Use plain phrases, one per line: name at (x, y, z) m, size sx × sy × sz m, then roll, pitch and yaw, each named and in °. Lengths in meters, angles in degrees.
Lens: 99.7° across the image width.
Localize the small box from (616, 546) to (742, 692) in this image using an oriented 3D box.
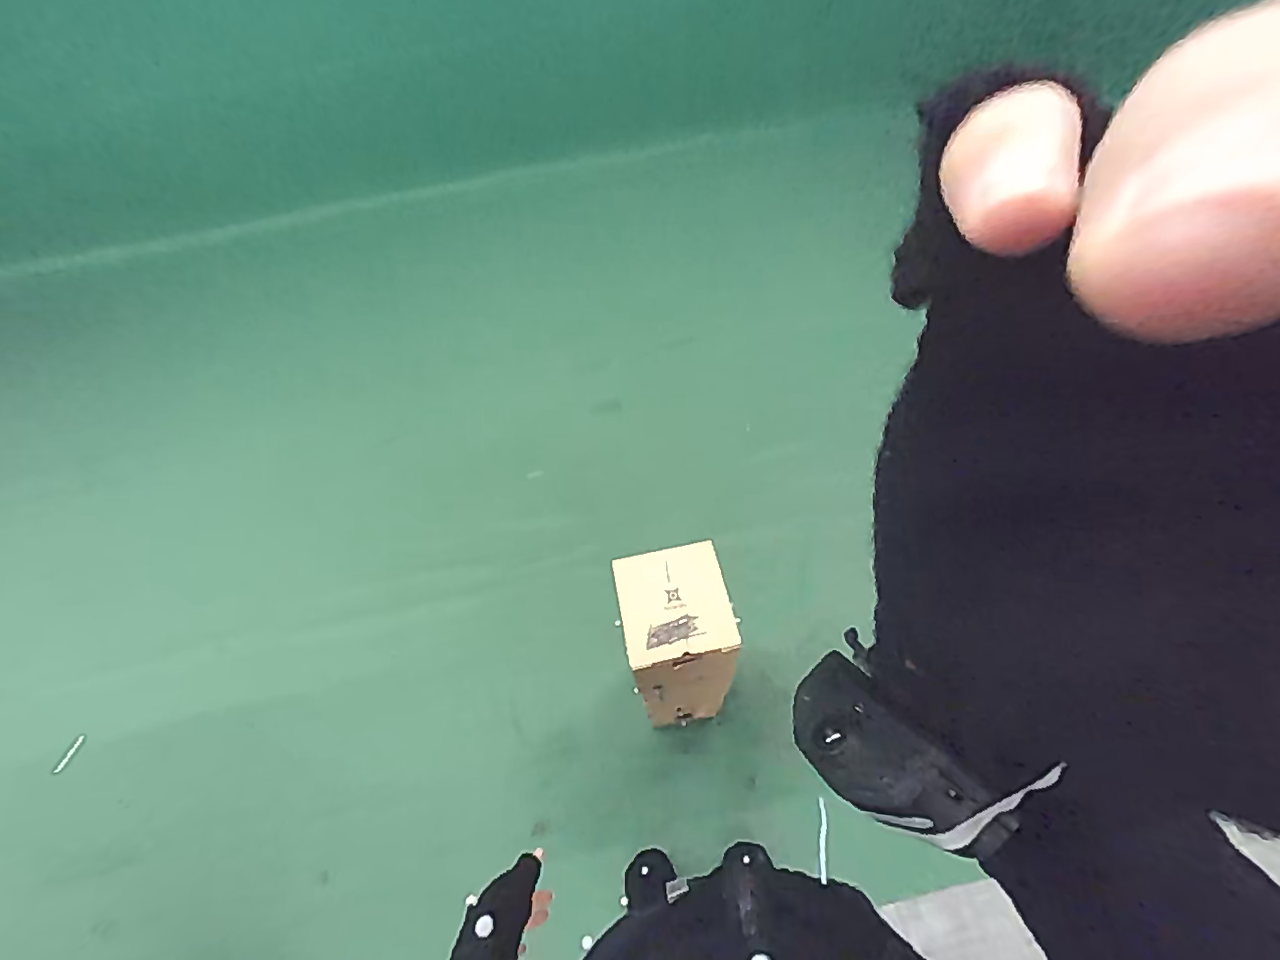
small box at (0.062, 0.235, 0.886) m, size 0.168 × 0.176 × 0.179 m, roll -11°, pitch 56°, yaw -3°

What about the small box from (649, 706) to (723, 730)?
small box at (0.097, 0.488, 1.307) m, size 0.168 × 0.176 × 0.179 m, roll -10°, pitch 57°, yaw -1°

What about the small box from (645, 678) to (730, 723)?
small box at (0.086, 0.406, 1.166) m, size 0.168 × 0.176 × 0.179 m, roll -12°, pitch 57°, yaw -3°
